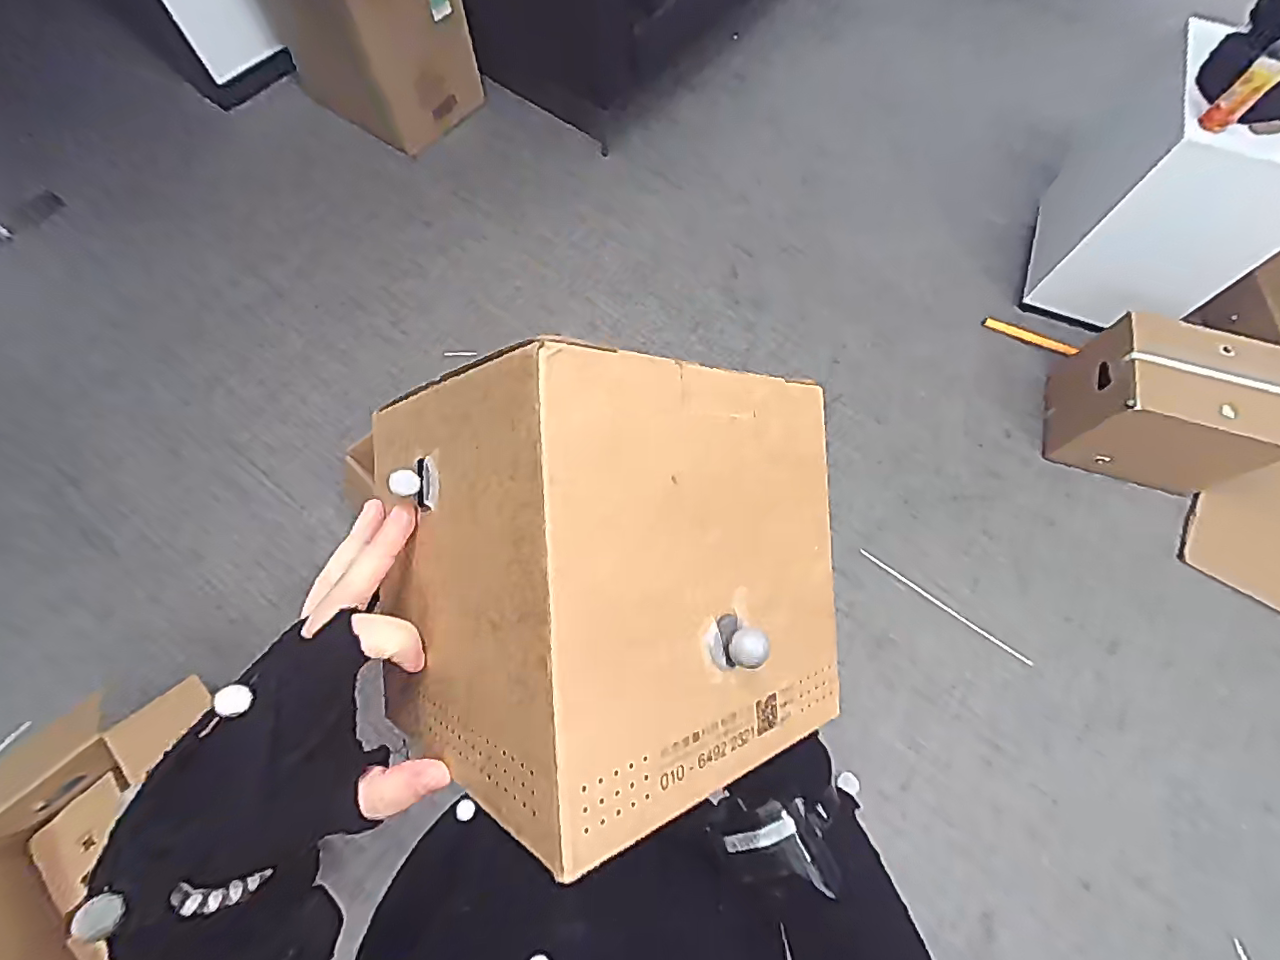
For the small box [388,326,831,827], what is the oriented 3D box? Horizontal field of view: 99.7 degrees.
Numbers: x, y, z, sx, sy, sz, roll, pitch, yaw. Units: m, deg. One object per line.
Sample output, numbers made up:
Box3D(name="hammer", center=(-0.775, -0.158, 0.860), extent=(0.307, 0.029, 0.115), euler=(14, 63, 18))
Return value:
Box3D(name="small box", center=(-0.021, 0.036, 0.282), extent=(0.168, 0.179, 0.176), euler=(-2, 90, -41))
